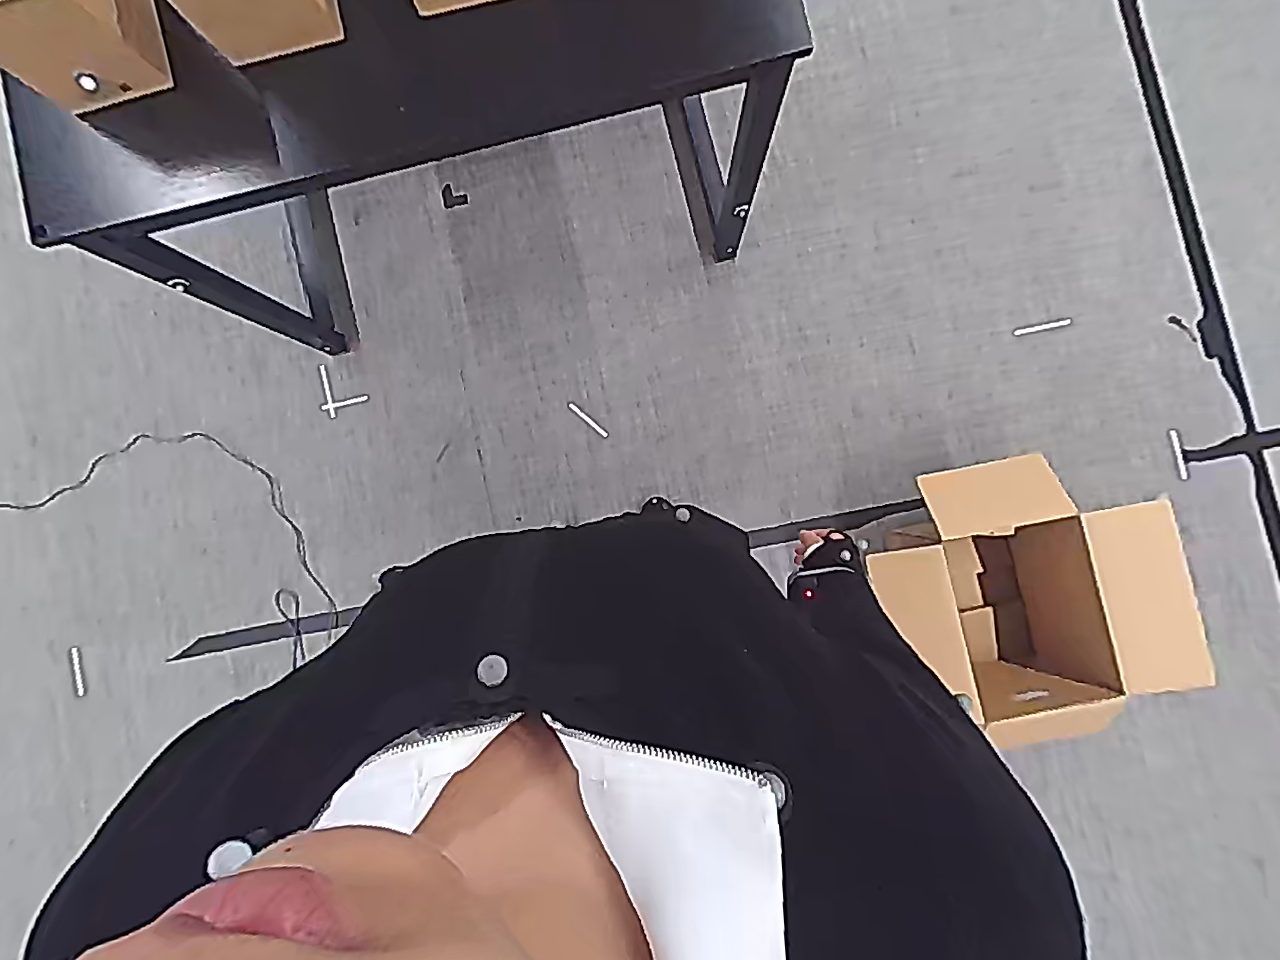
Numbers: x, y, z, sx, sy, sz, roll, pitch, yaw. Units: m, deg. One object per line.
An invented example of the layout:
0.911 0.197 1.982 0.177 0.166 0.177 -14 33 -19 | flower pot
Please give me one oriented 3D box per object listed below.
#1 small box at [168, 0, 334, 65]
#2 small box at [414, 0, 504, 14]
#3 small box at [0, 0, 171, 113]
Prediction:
-0.551 -0.723 0.740 0.179 0.176 0.168 -13 87 1 | small box
-0.266 -0.790 0.734 0.179 0.176 0.168 -11 88 2 | small box
-0.810 -0.662 0.748 0.168 0.176 0.179 -15 89 2 | small box
